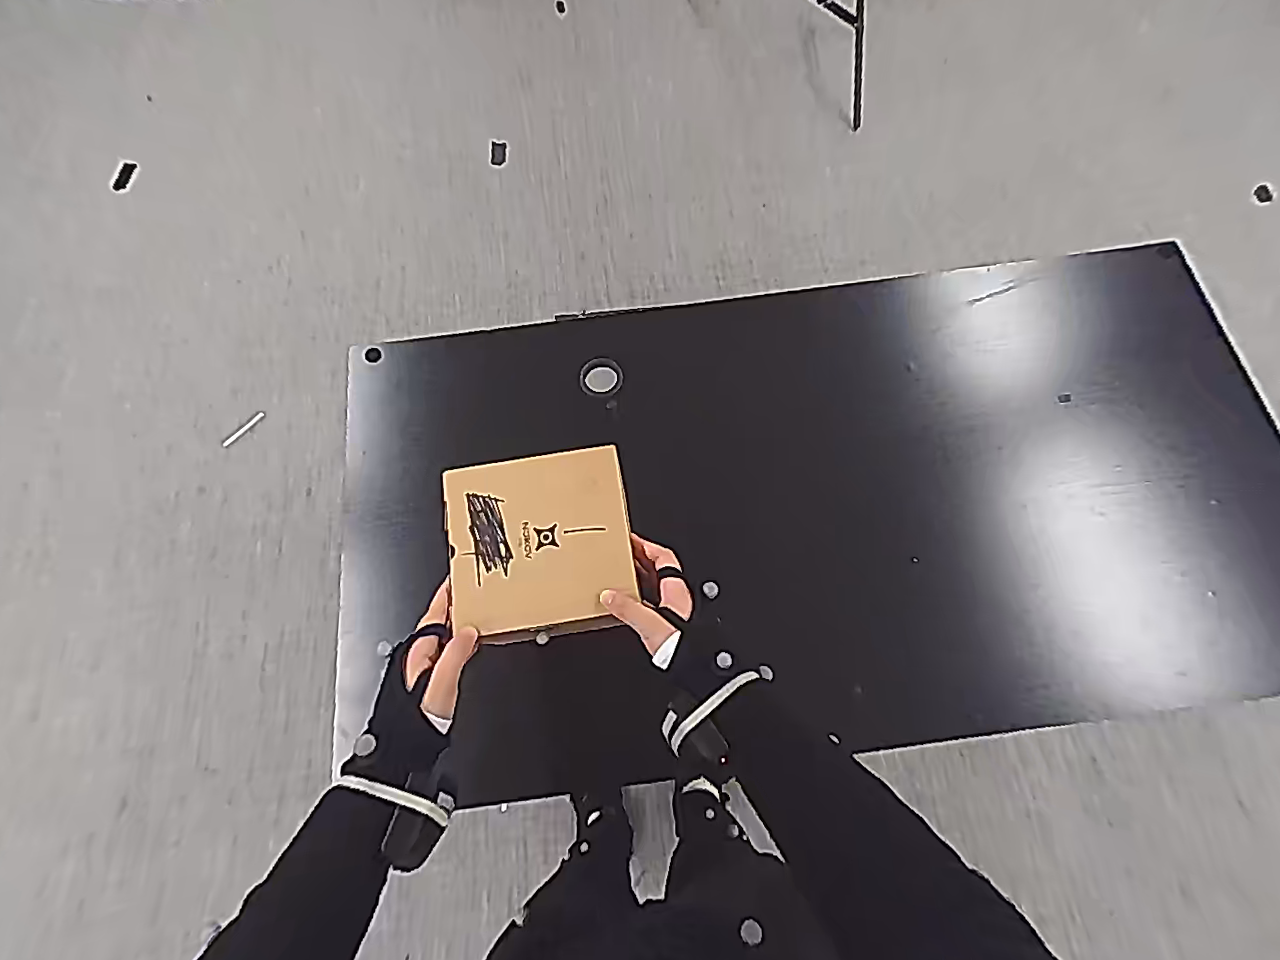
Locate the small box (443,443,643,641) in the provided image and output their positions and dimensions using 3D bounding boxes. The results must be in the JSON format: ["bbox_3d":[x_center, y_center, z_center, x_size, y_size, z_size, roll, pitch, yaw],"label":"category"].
[{"bbox_3d":[-0.095,0.077,0.584,0.179,0.176,0.168,-9,72,-2],"label":"small box"}]
